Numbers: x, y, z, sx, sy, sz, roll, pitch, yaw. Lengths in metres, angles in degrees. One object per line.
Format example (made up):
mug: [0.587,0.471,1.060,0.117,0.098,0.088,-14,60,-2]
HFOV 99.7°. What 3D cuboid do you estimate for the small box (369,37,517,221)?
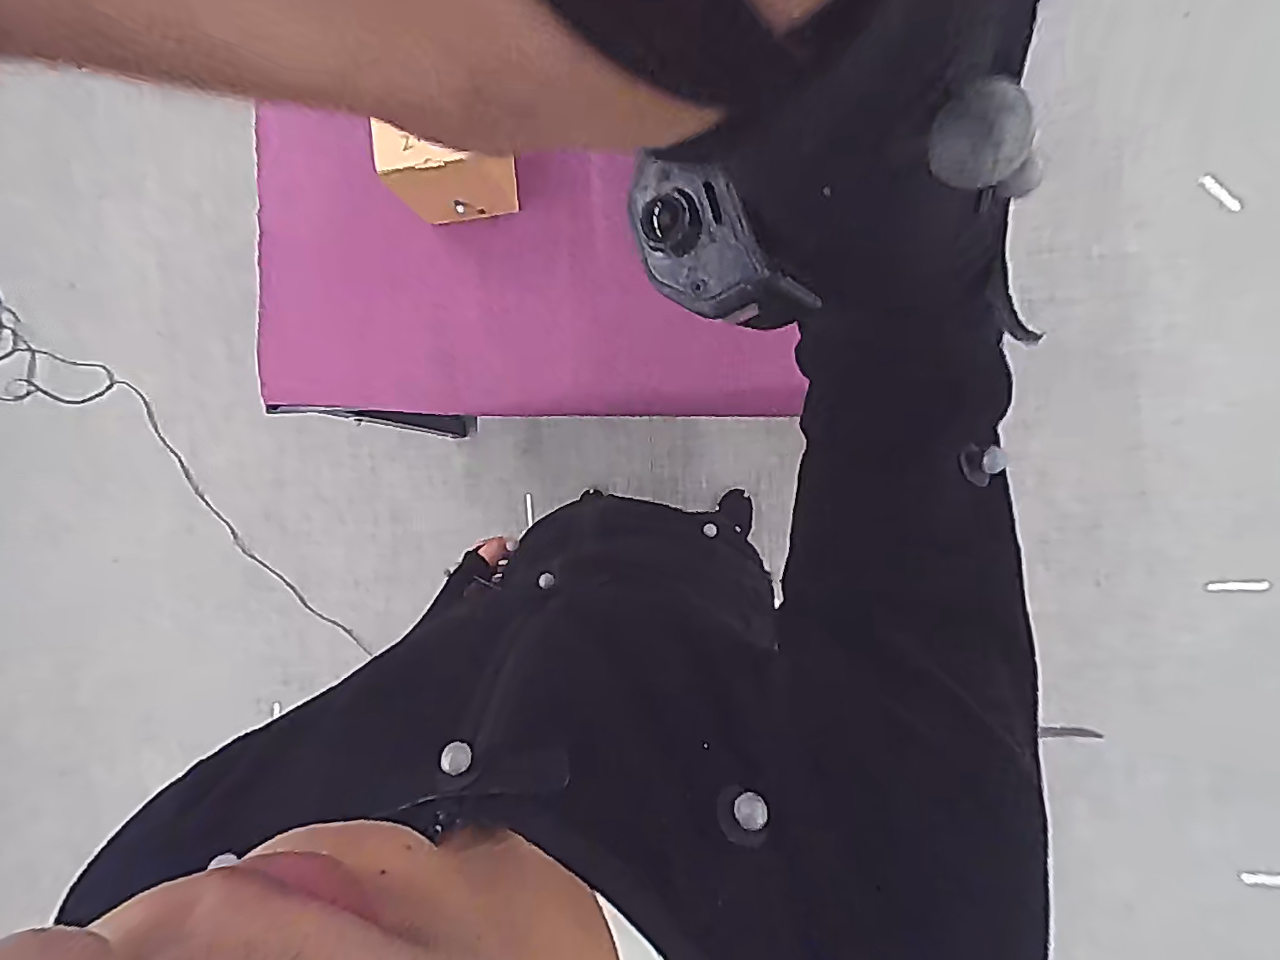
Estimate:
small box: [-0.305,-0.547,0.863,0.168,0.176,0.179,-5,89,5]
